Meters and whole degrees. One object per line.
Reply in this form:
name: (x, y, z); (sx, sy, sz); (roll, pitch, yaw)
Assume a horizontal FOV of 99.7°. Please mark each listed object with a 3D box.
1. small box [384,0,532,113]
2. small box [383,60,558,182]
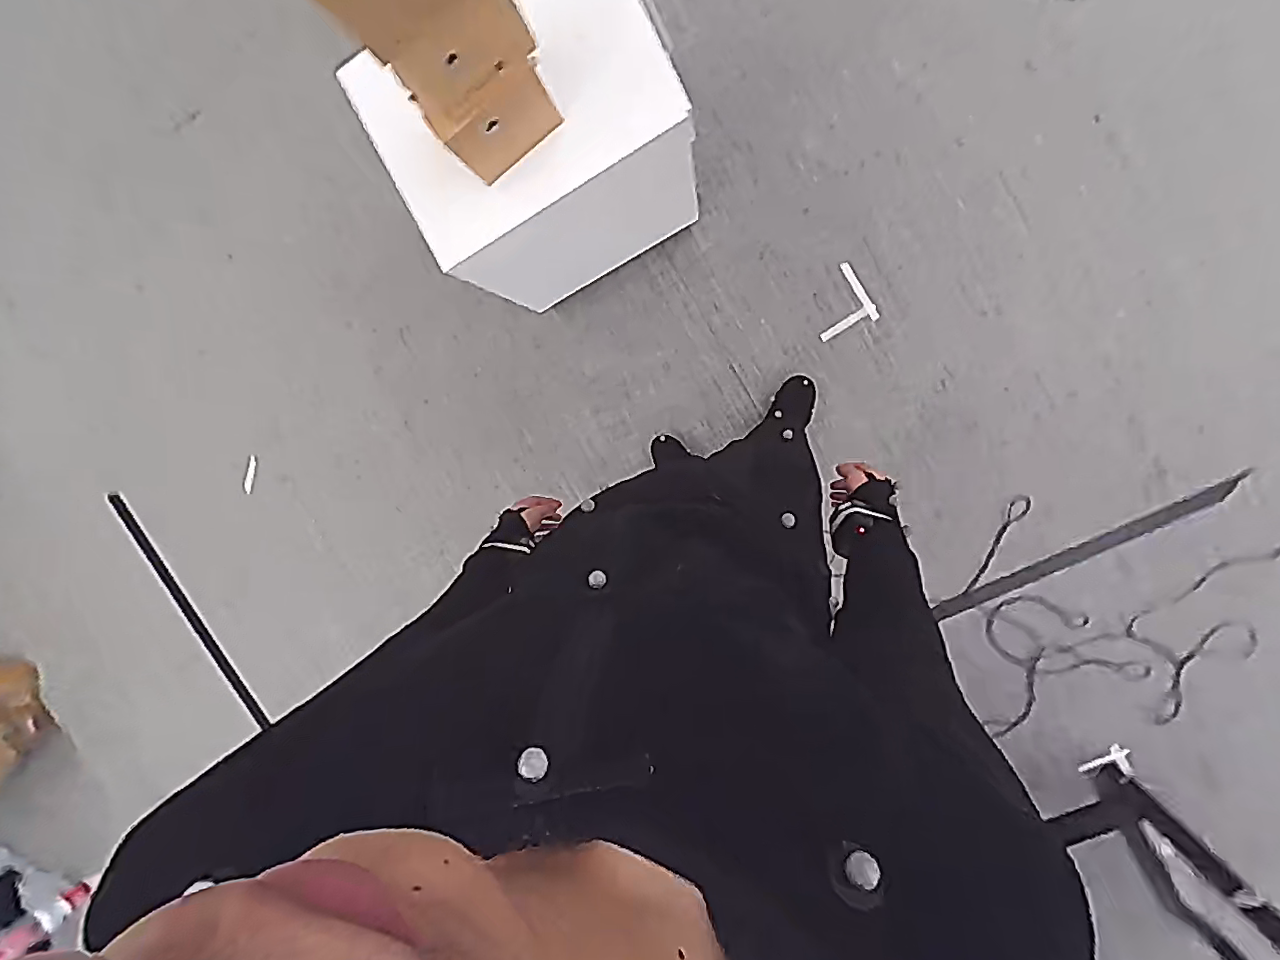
small box: (-0.269, -0.622, 0.699); (0.168, 0.176, 0.179); (-33, 92, 12)
small box: (-0.259, -0.621, 0.864); (0.179, 0.176, 0.168); (-35, 93, 11)
